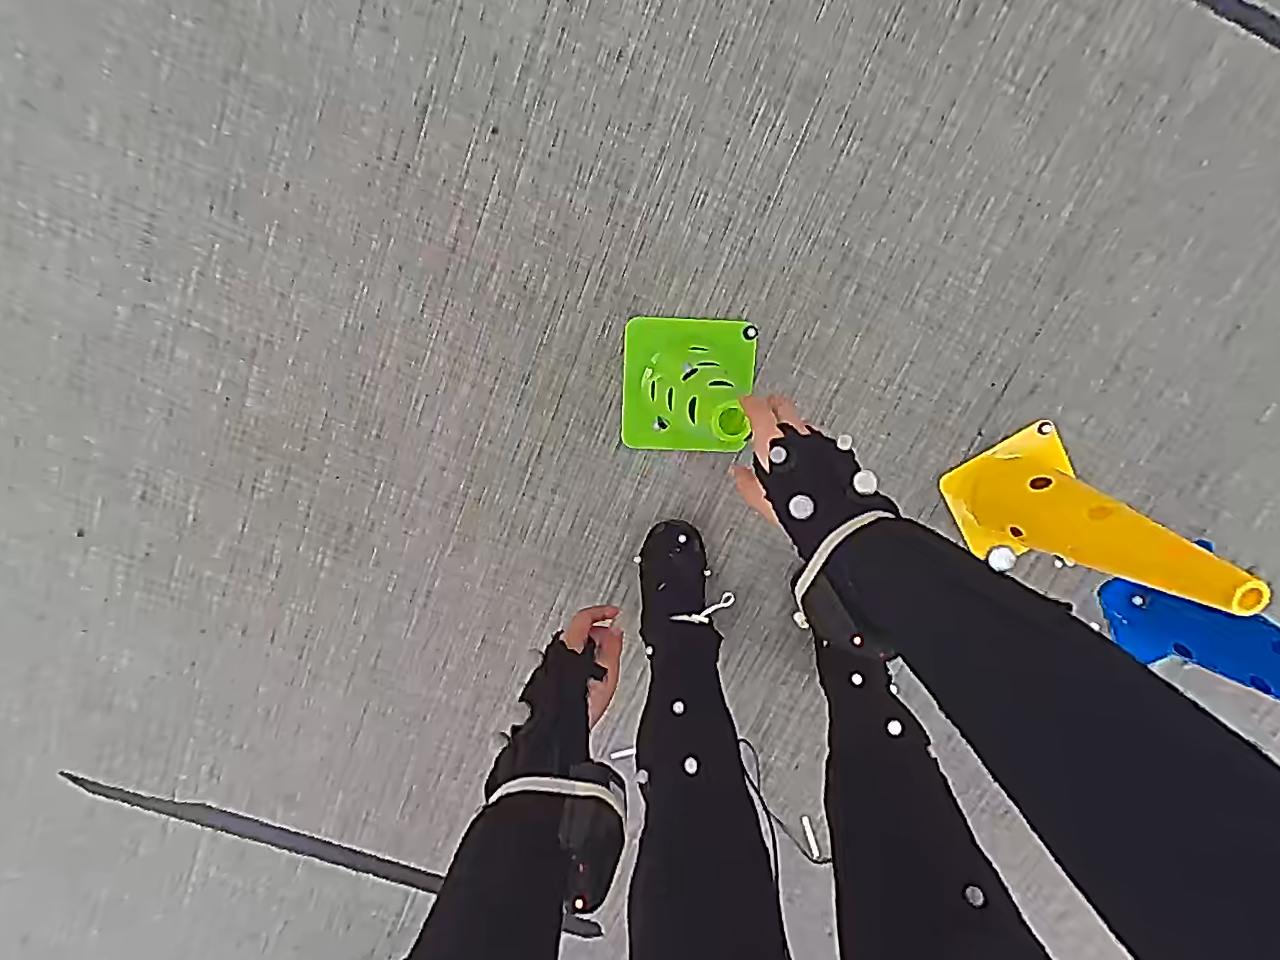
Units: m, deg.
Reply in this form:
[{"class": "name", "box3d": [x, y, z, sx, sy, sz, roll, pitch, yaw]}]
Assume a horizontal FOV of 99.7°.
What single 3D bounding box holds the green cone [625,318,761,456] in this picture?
[{"class": "green cone", "box3d": [0.081, -0.094, 0.660, 0.200, 0.368, 0.202, 1, 106, -1]}]
